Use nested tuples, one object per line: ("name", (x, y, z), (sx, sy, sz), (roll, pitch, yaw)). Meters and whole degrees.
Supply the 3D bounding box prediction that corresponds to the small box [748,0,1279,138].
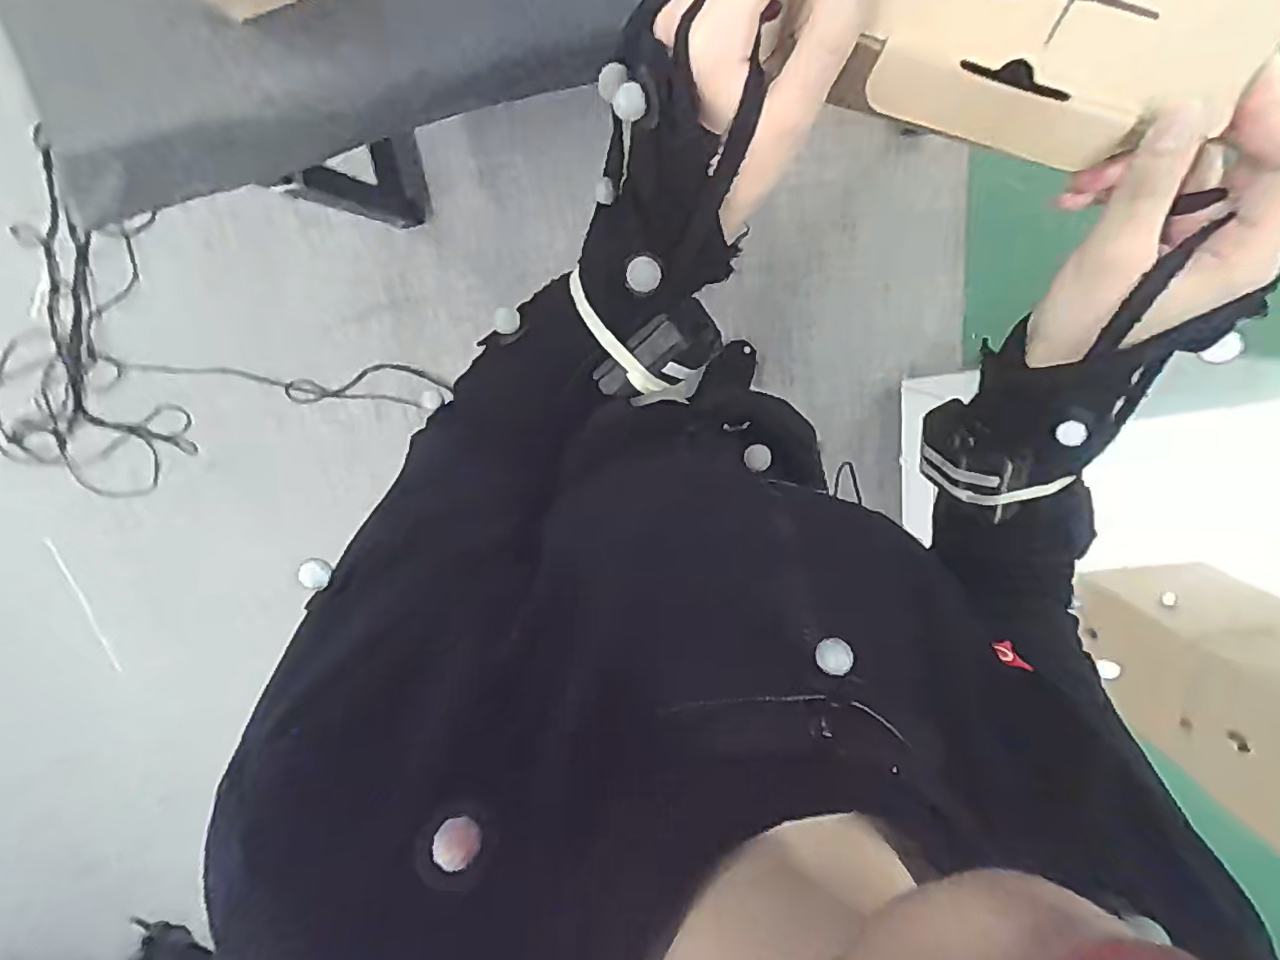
("small box", (0.152, -0.260, 0.223), (0.168, 0.176, 0.179), (12, 120, -5))
